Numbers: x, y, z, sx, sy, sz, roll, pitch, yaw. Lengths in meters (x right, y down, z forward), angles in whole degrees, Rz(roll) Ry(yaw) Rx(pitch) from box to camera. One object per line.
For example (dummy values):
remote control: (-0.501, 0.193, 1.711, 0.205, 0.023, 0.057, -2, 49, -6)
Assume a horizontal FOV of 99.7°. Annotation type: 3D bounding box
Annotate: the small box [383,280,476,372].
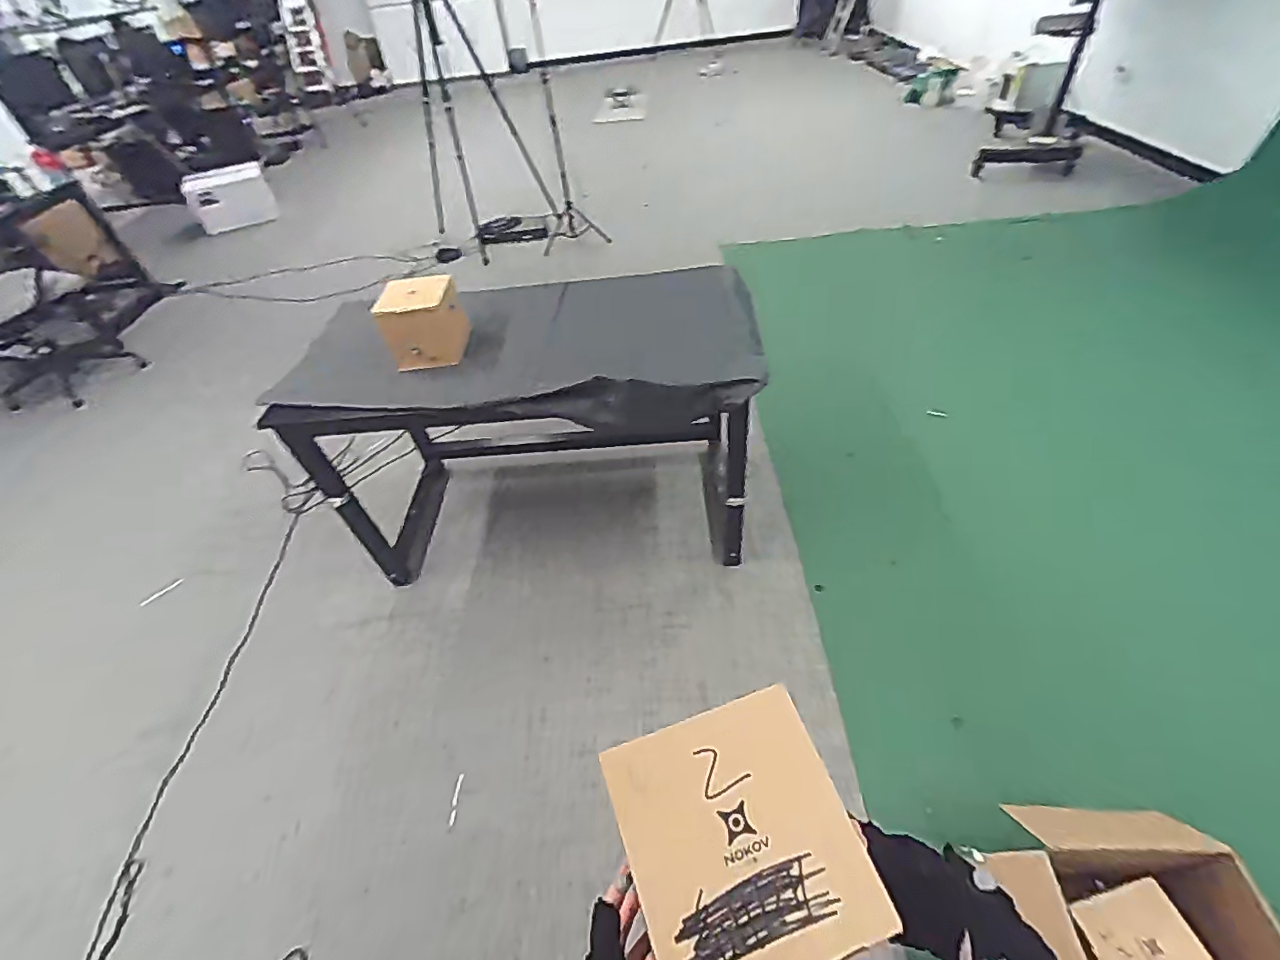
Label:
small box: (-0.544, -0.406, 1.427, 0.168, 0.176, 0.179, -5, 46, 2)
